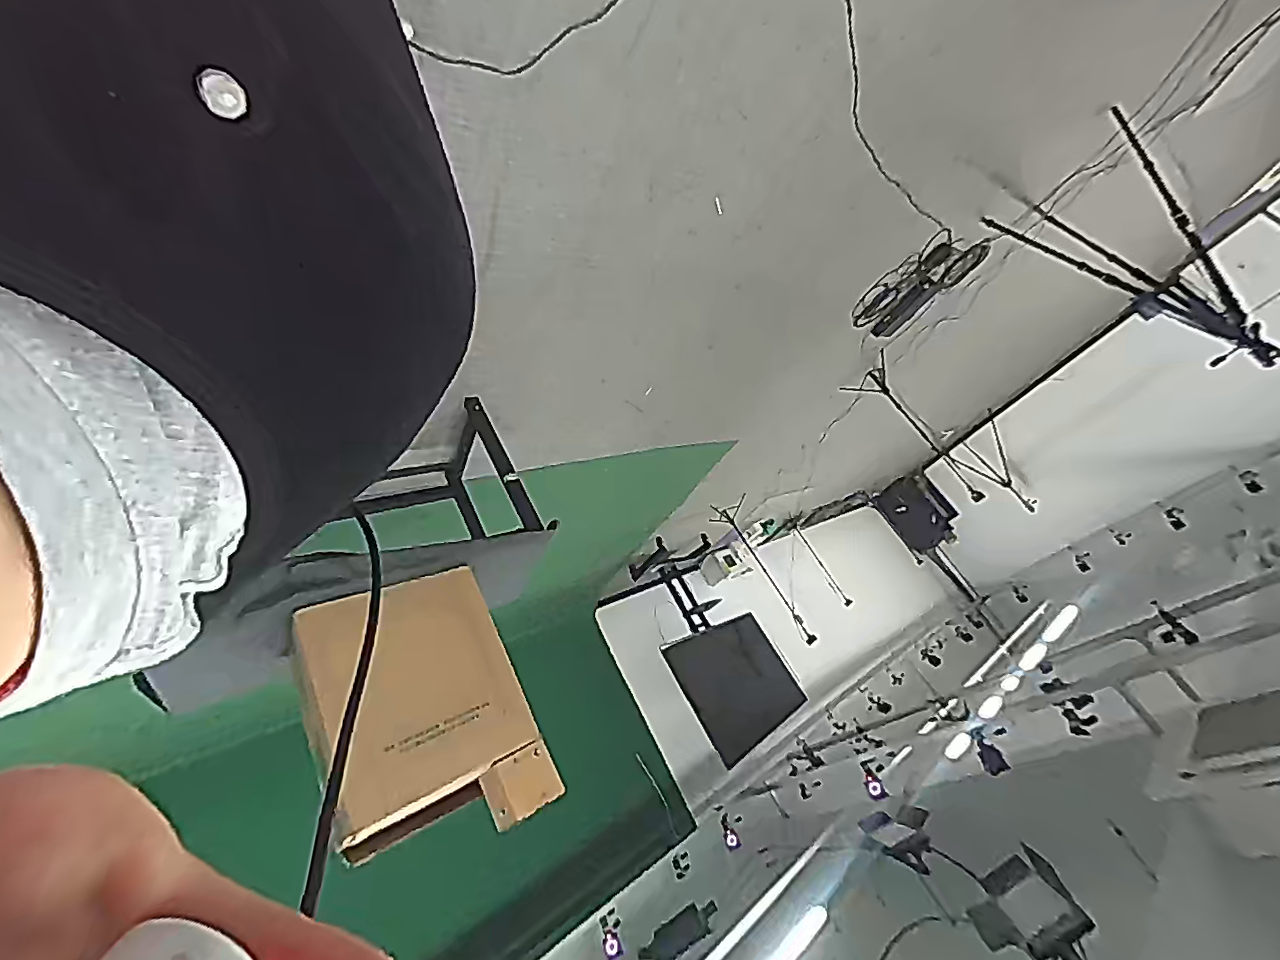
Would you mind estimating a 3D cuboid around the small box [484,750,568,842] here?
[{"bbox_3d":[-0.350,0.946,1.629,0.168,0.176,0.179,-11,151,-42],"label":"small box"}]
